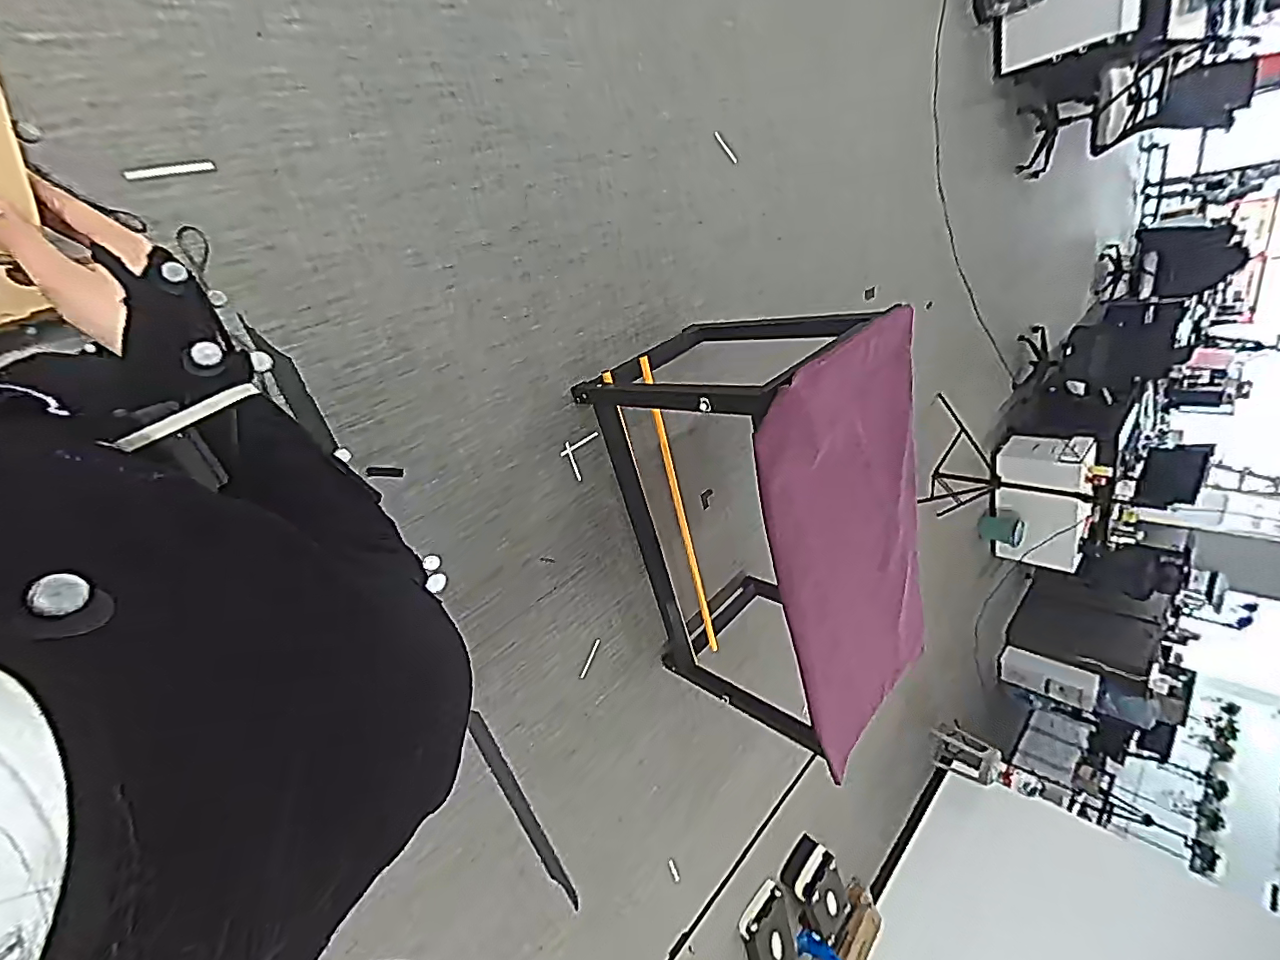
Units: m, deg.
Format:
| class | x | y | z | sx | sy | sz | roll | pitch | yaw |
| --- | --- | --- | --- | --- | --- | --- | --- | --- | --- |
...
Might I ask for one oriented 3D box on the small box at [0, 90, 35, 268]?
| class | x | y | z | sx | sy | sz | roll | pitch | yaw |
| --- | --- | --- | --- | --- | --- | --- | --- | --- | --- |
| small box | -0.455 | -0.210 | 0.278 | 0.168 | 0.176 | 0.179 | -16 | 113 | -48 |
